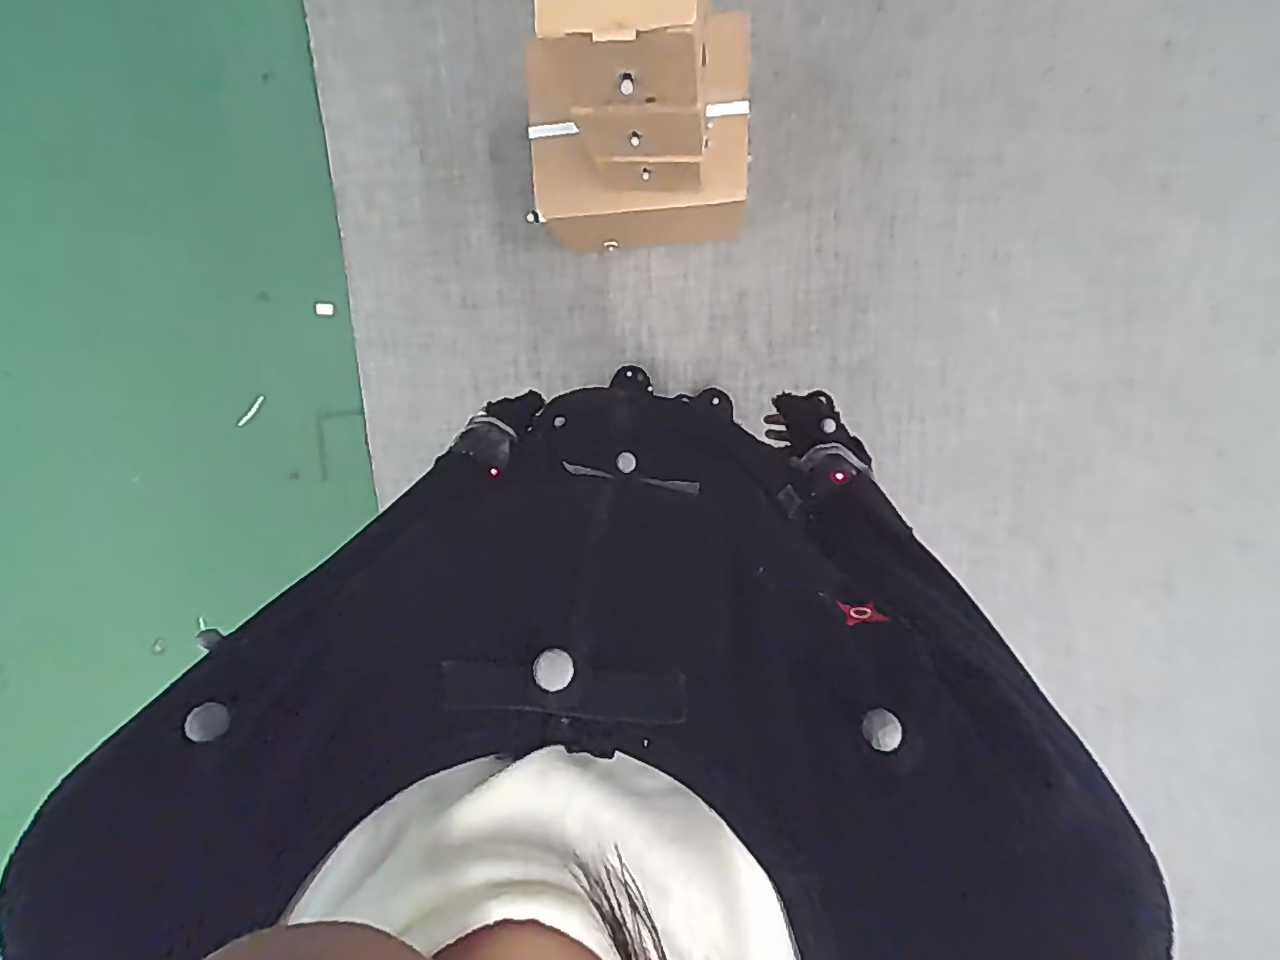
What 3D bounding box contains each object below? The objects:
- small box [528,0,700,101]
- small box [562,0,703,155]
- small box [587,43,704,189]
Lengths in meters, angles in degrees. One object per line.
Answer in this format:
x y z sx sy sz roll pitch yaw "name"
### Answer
-0.019 -0.546 0.597 0.168 0.176 0.179 4 105 6 "small box"
-0.003 -0.575 0.758 0.179 0.176 0.168 4 104 7 "small box"
0.014 -0.608 0.918 0.179 0.176 0.168 4 104 5 "small box"
